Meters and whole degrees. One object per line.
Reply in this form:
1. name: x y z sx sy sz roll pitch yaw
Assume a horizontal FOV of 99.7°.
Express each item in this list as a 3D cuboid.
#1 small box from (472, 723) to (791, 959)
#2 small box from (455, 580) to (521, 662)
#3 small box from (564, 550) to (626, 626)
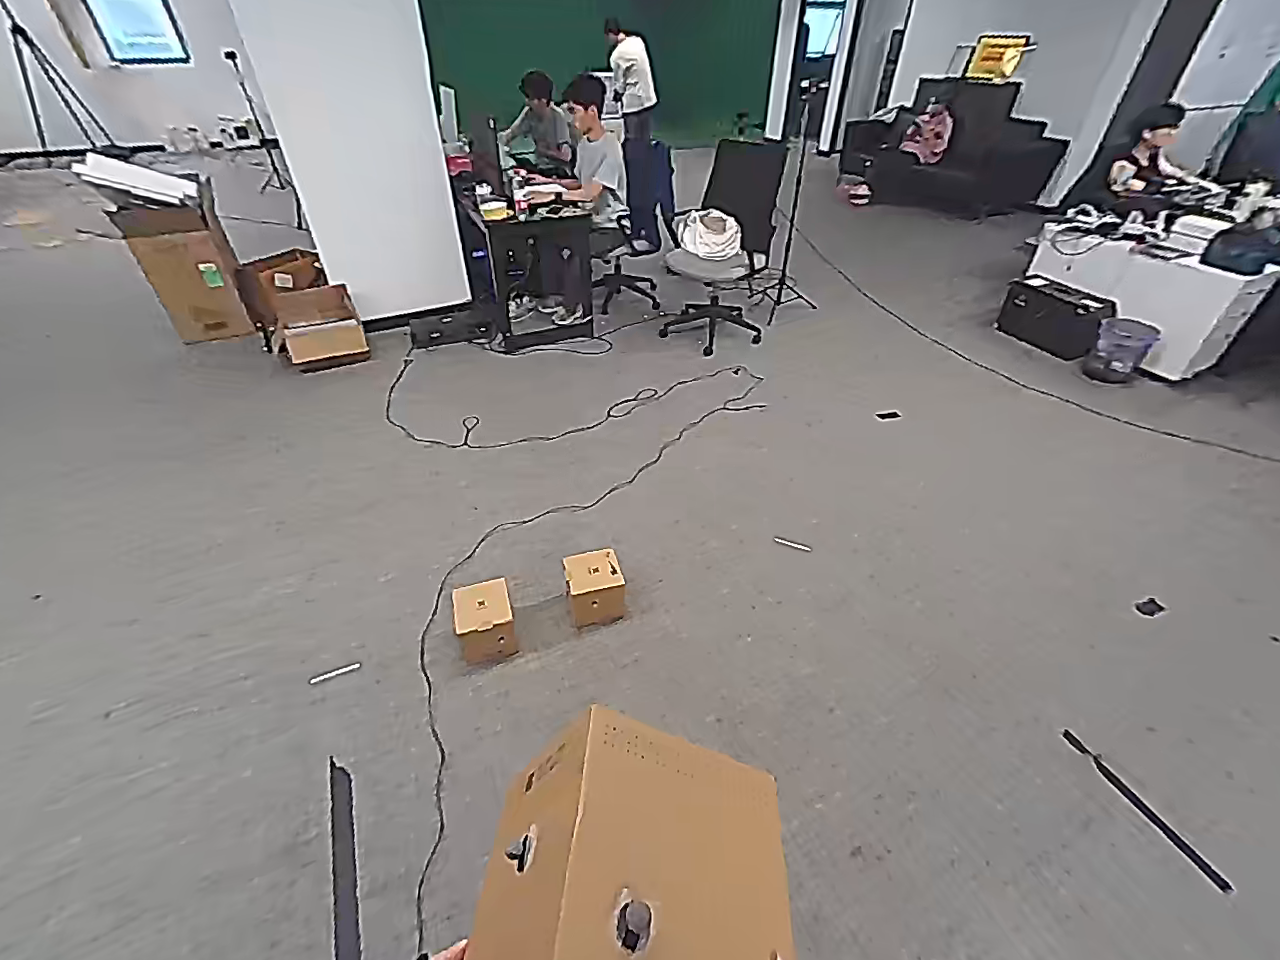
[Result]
1. small box: -0.011 0.312 0.408 0.179 0.168 0.176 28 33 -15
2. small box: -0.476 0.448 1.700 0.168 0.176 0.179 -11 41 -15
3. small box: -0.148 0.363 1.804 0.179 0.176 0.168 -10 41 -12
